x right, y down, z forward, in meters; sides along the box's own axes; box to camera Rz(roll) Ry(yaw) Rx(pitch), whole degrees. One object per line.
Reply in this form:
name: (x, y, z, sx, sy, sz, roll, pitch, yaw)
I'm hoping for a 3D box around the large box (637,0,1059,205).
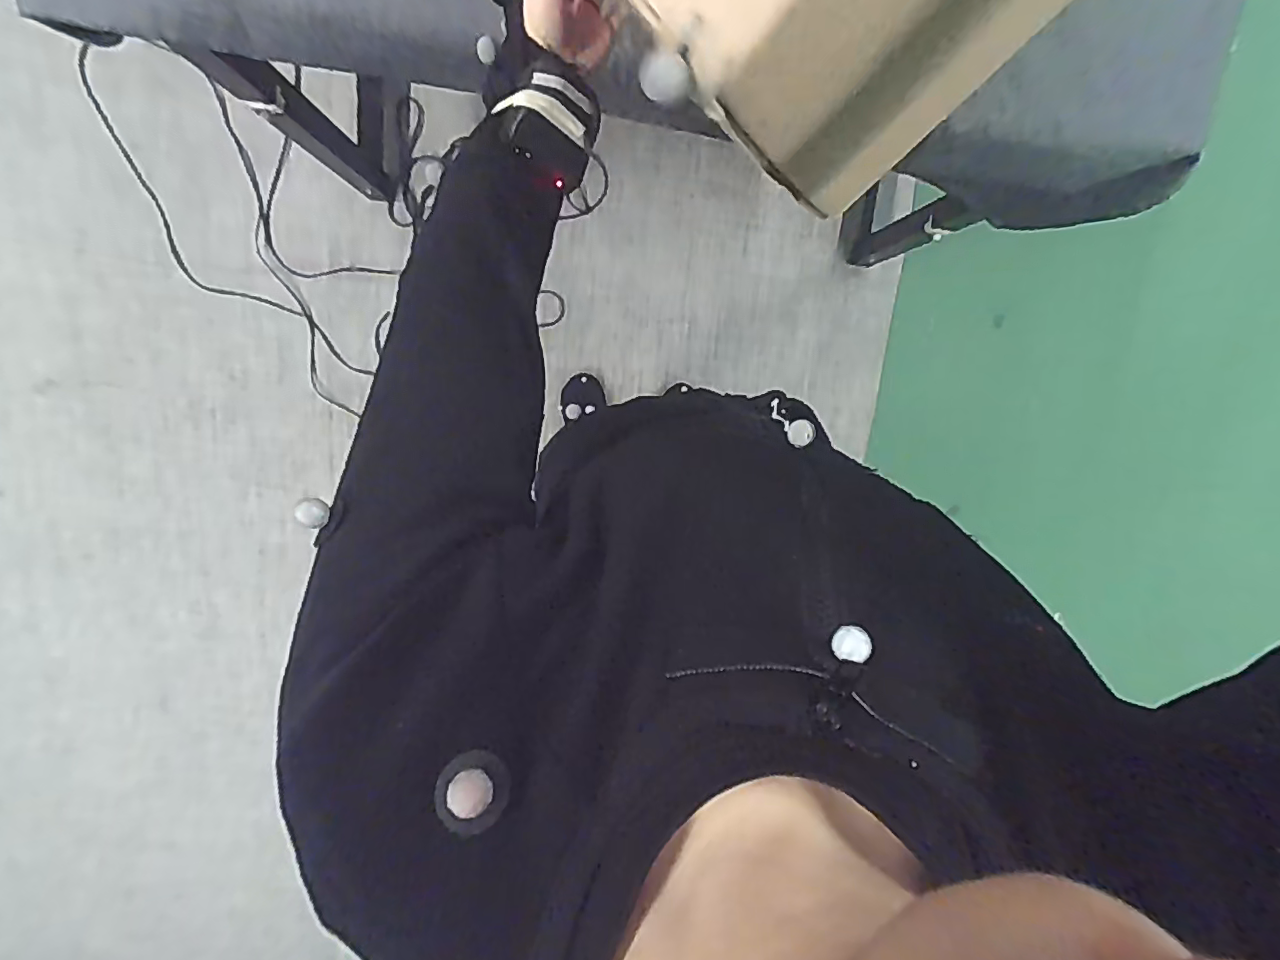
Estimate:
large box: (0.129, -0.391, 0.203, 0.320, 0.320, 0.408, 50, 122, 3)
